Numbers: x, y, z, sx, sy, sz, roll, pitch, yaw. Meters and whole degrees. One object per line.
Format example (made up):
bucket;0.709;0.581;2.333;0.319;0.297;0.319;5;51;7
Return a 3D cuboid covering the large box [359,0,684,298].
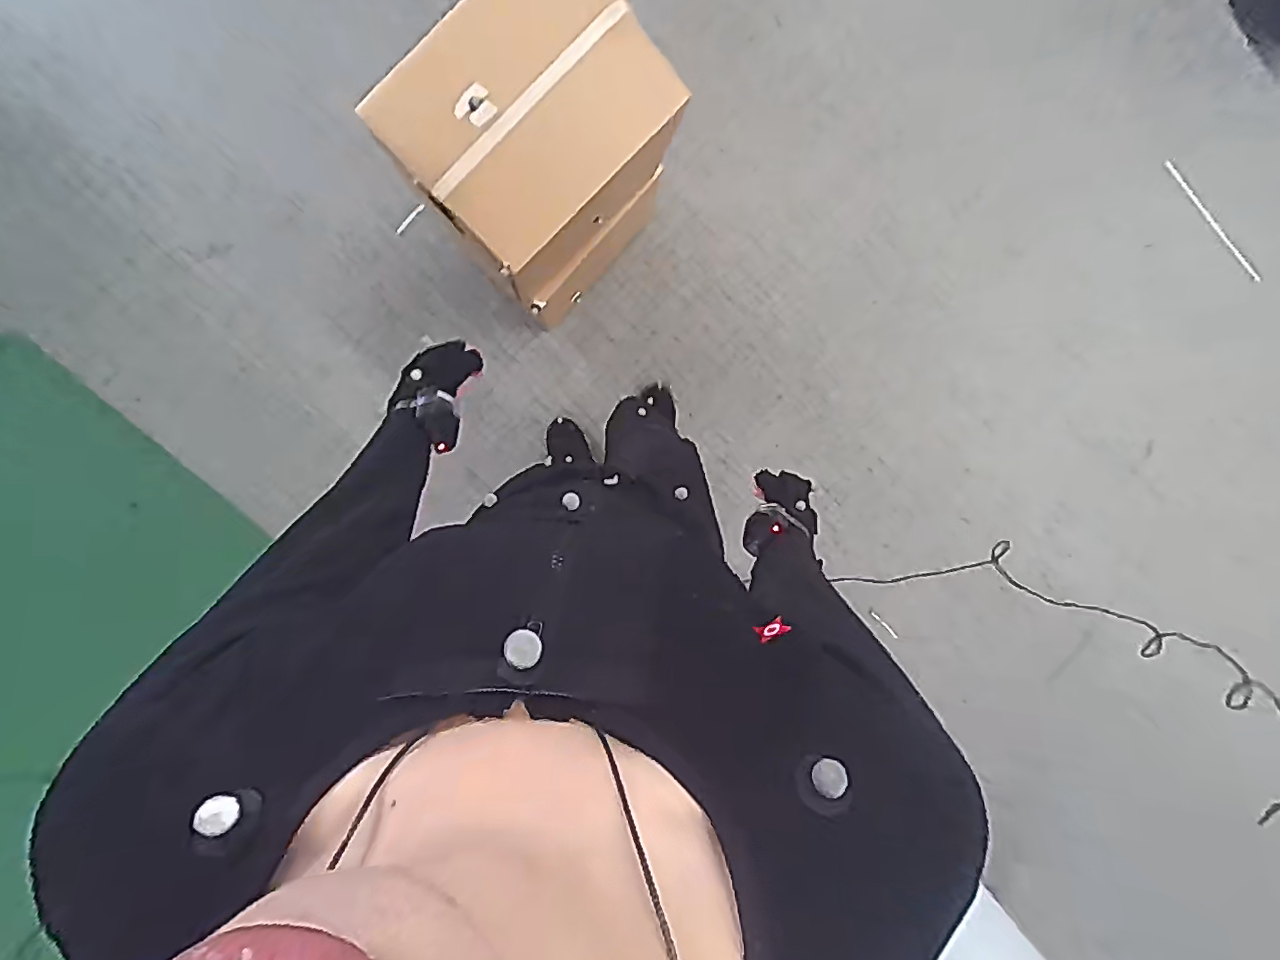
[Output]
large box;-0.191;-0.595;0.957;0.408;0.320;0.320;-45;103;1
